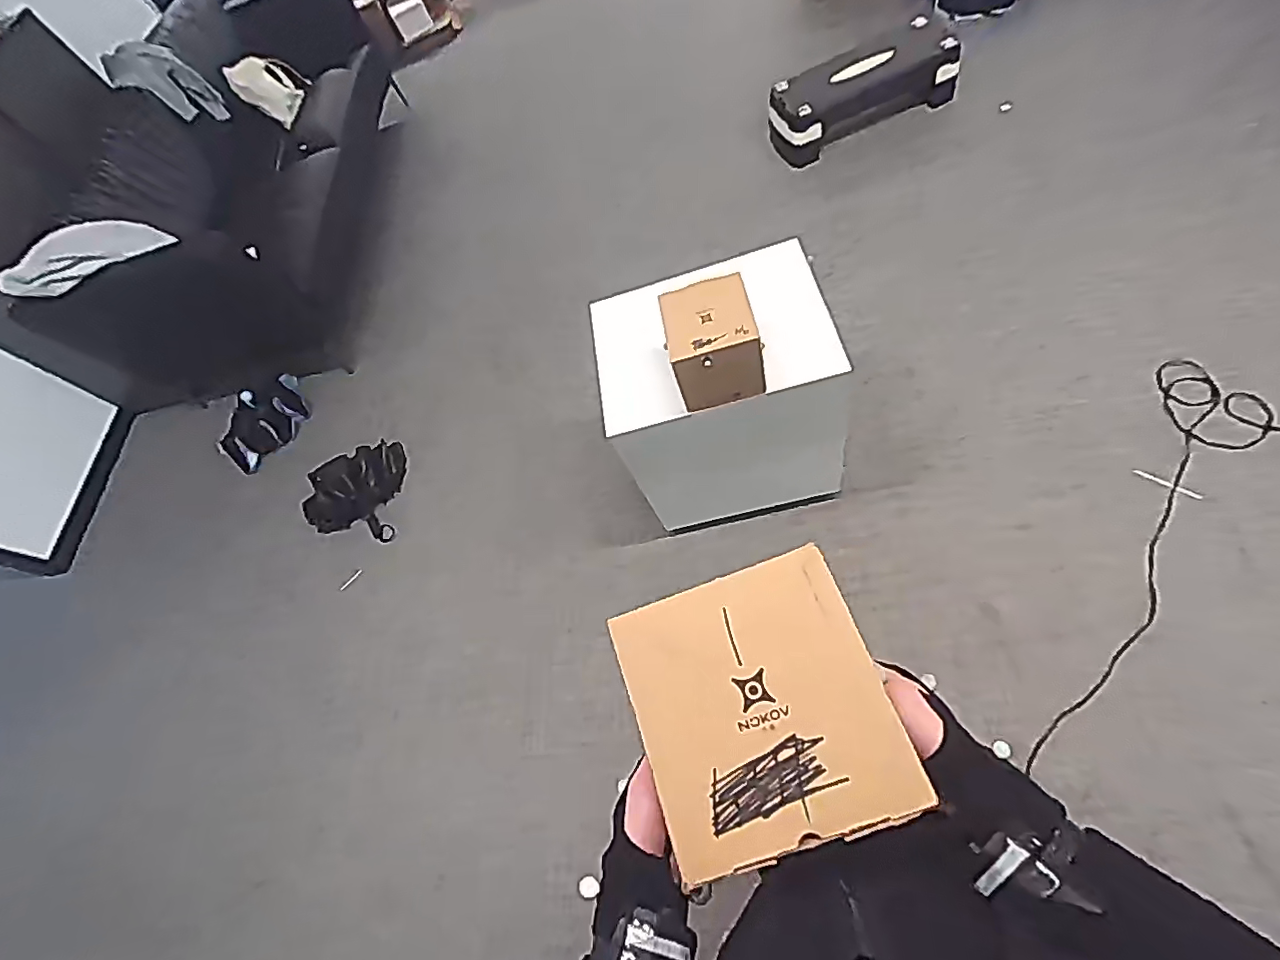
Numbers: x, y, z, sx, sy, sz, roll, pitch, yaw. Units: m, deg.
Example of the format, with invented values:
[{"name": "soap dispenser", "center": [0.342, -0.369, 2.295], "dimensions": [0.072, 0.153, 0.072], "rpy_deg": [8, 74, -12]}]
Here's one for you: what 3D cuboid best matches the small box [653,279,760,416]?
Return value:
[{"name": "small box", "center": [0.133, -0.256, 1.070], "dimensions": [0.168, 0.176, 0.179], "rpy_deg": [-15, 58, 10]}]
